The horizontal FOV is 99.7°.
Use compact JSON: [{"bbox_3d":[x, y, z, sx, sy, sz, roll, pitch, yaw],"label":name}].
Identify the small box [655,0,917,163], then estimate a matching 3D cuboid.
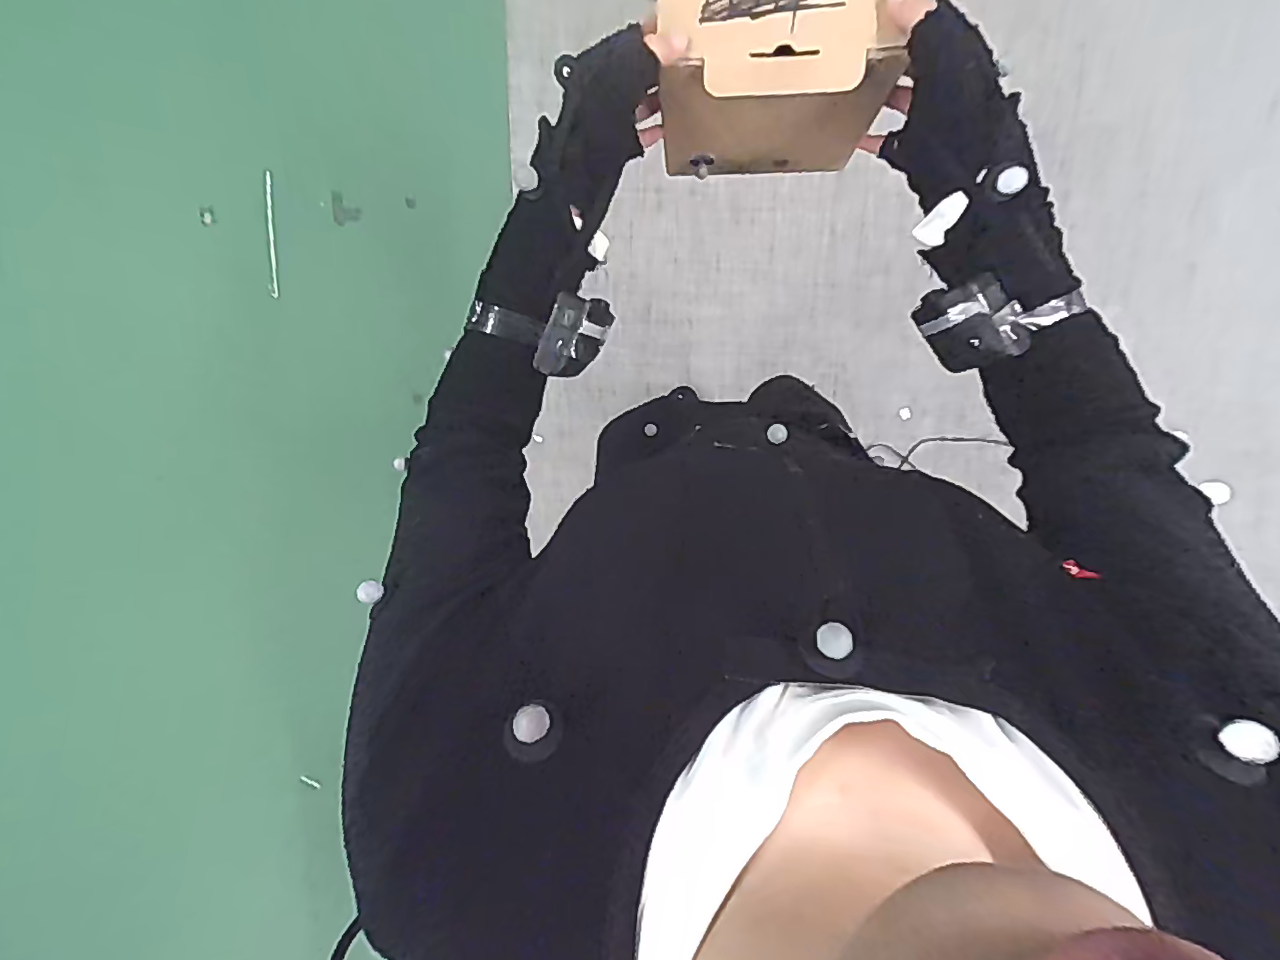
[{"bbox_3d":[0.101,-0.367,0.415,0.168,0.176,0.179,2,95,5],"label":"small box"}]
